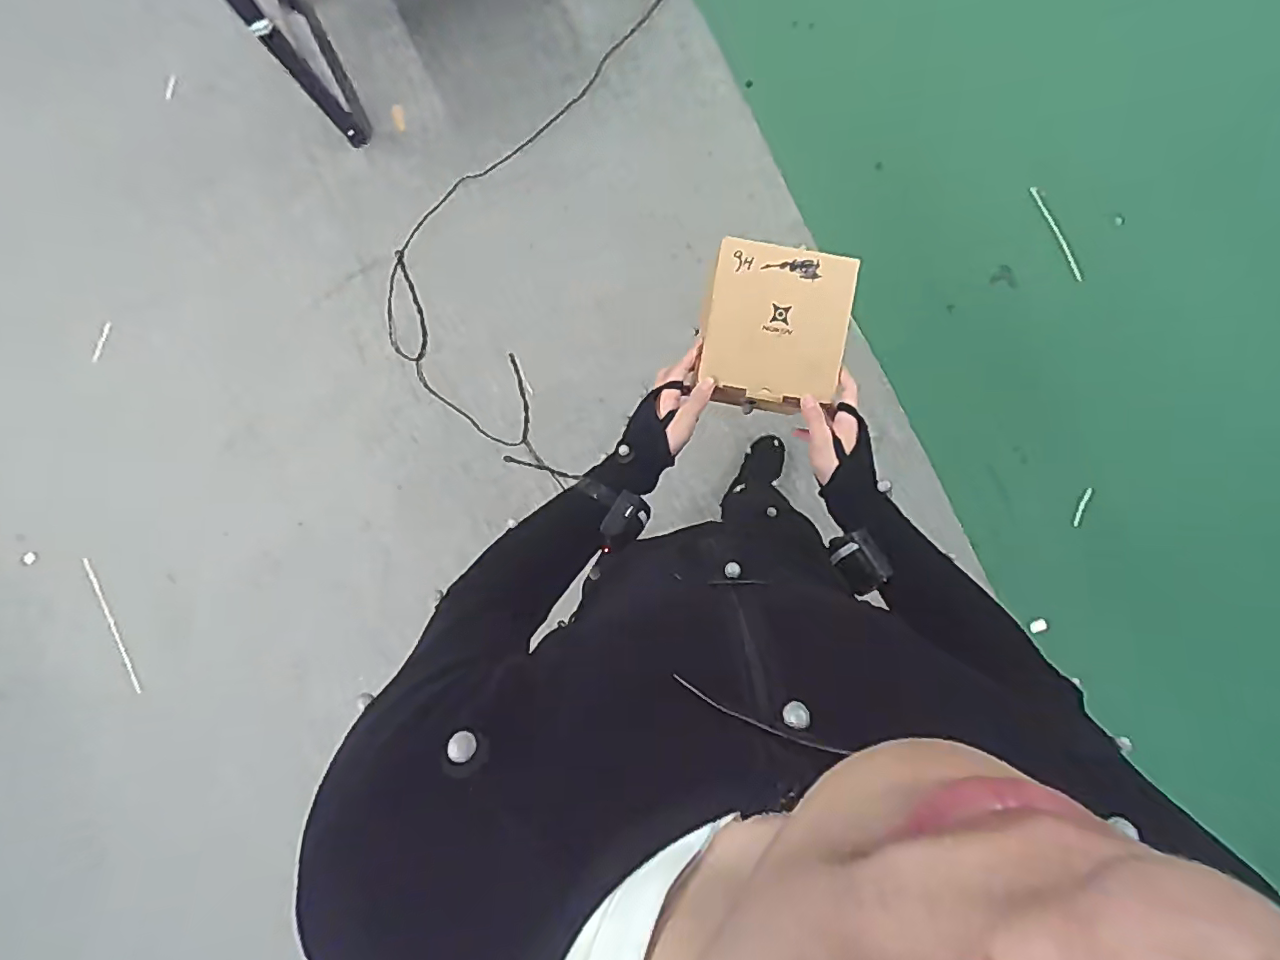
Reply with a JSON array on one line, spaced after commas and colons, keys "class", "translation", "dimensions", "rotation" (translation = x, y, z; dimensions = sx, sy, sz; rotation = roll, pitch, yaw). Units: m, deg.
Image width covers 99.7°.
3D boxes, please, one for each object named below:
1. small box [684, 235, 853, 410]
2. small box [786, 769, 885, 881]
[{"class": "small box", "translation": [0.155, -0.192, 0.714], "dimensions": [0.168, 0.176, 0.179], "rotation": [9, 93, -1]}, {"class": "small box", "translation": [0.524, 0.931, 1.476], "dimensions": [0.179, 0.176, 0.168], "rotation": [-26, 85, 1]}]
